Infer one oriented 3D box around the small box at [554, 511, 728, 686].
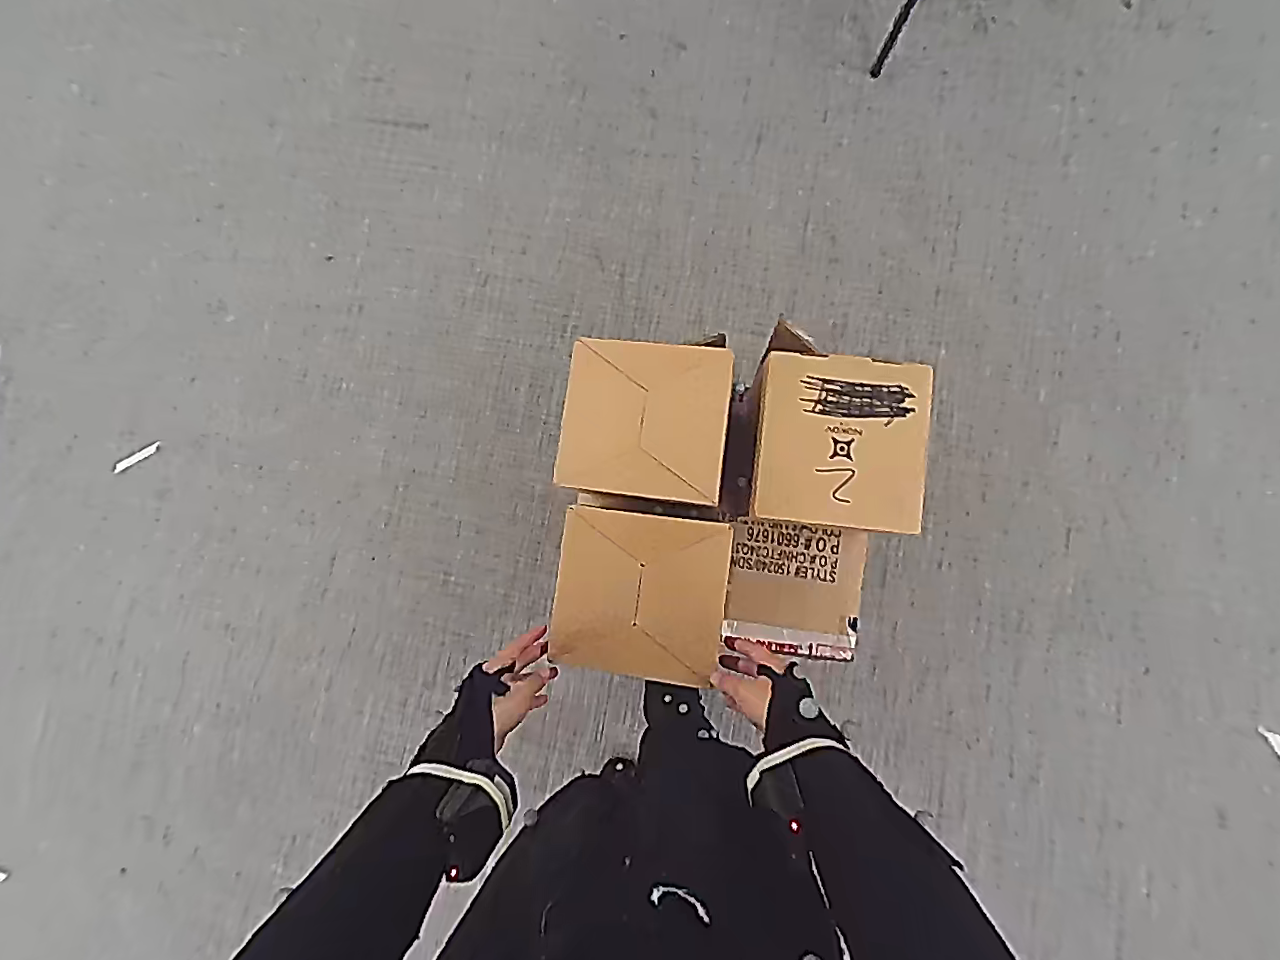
[{"bbox_3d":[0.004,0.128,0.640,0.179,0.176,0.168,7,87,7],"label":"small box"}]
